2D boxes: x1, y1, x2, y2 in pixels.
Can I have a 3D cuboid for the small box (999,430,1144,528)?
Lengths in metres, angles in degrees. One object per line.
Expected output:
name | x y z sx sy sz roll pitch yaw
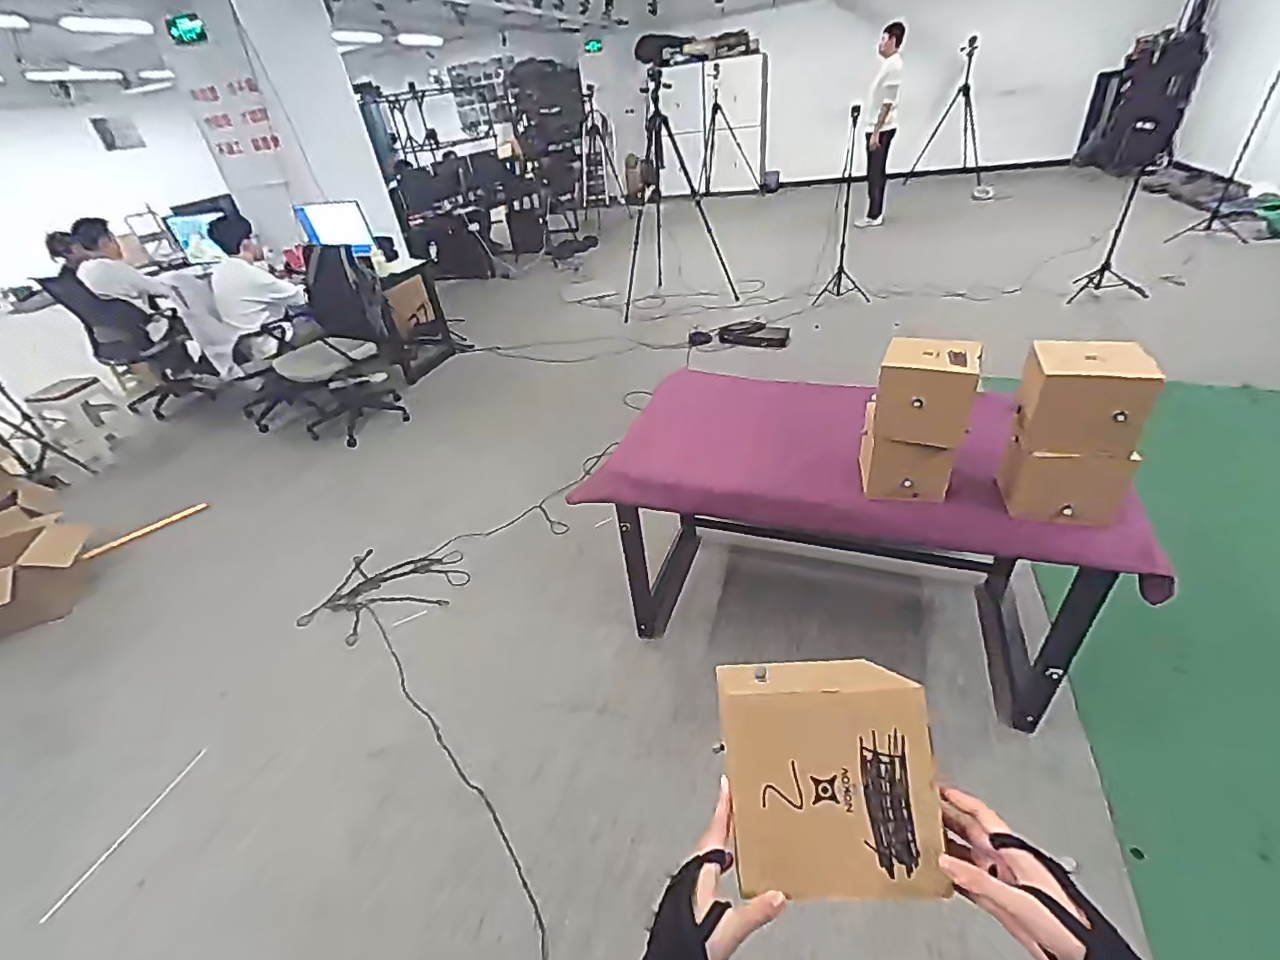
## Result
small box | 0.885 -0.016 1.130 0.179 0.176 0.168 4 36 18

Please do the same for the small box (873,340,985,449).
small box | 0.605 -0.180 1.138 0.179 0.176 0.168 11 38 28

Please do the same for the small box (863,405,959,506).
small box | 0.617 -0.061 1.254 0.168 0.176 0.179 2 35 16

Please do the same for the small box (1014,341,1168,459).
small box | 0.856 -0.155 1.047 0.179 0.176 0.168 7 38 23
